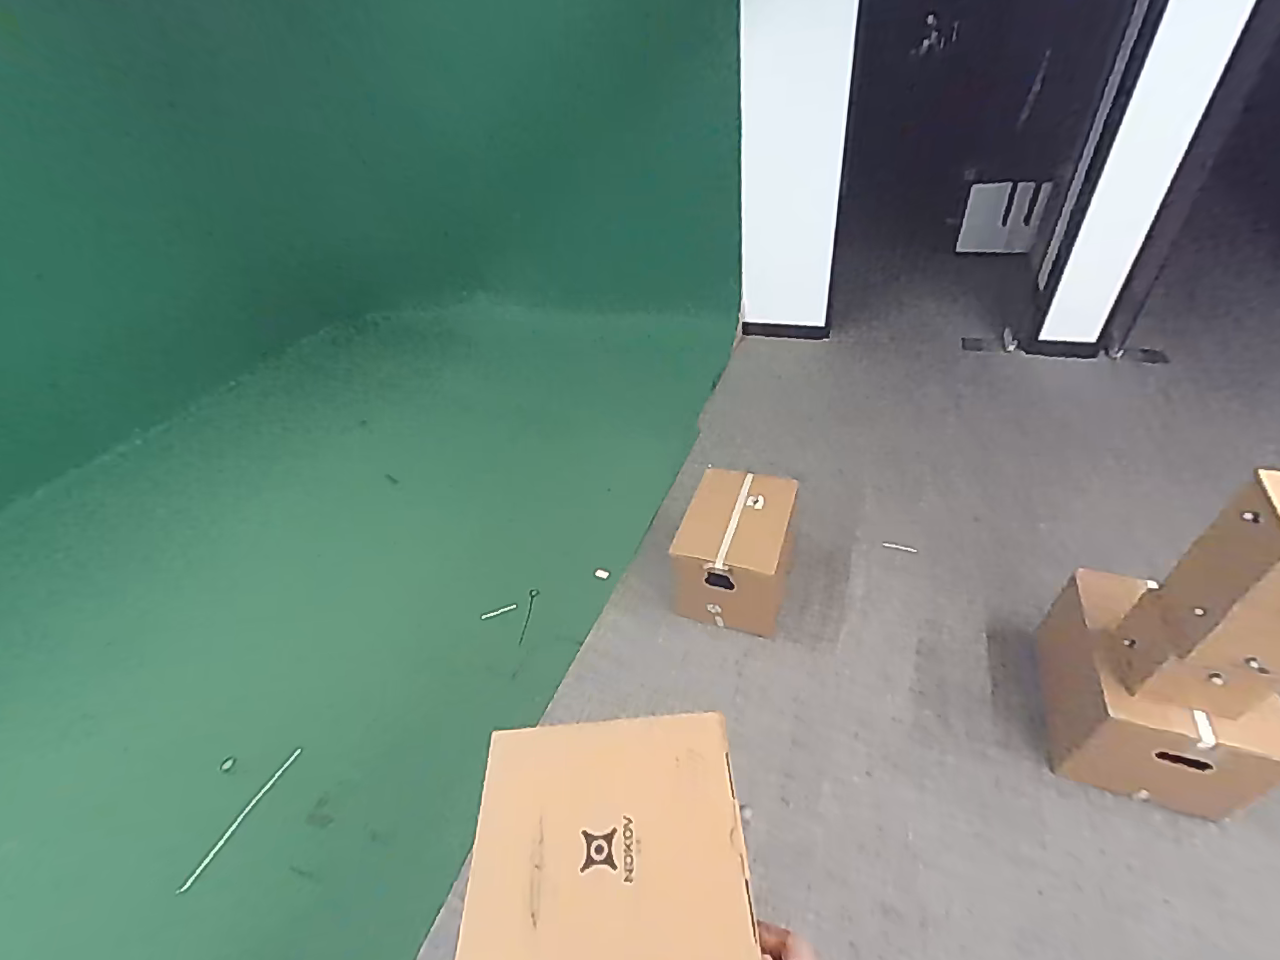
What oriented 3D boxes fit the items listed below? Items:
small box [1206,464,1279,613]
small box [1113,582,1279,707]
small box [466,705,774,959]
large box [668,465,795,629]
[{"bbox_3d":[1.073,0.103,0.867,0.168,0.176,0.179,10,47,23],"label":"small box"},{"bbox_3d":[1.117,0.336,1.097,0.179,0.176,0.168,8,45,20],"label":"small box"},{"bbox_3d":[-0.006,0.288,0.400,0.179,0.176,0.168,-6,41,3],"label":"small box"},{"bbox_3d":[0.311,0.207,1.753,0.320,0.320,0.408,10,44,21],"label":"large box"}]
